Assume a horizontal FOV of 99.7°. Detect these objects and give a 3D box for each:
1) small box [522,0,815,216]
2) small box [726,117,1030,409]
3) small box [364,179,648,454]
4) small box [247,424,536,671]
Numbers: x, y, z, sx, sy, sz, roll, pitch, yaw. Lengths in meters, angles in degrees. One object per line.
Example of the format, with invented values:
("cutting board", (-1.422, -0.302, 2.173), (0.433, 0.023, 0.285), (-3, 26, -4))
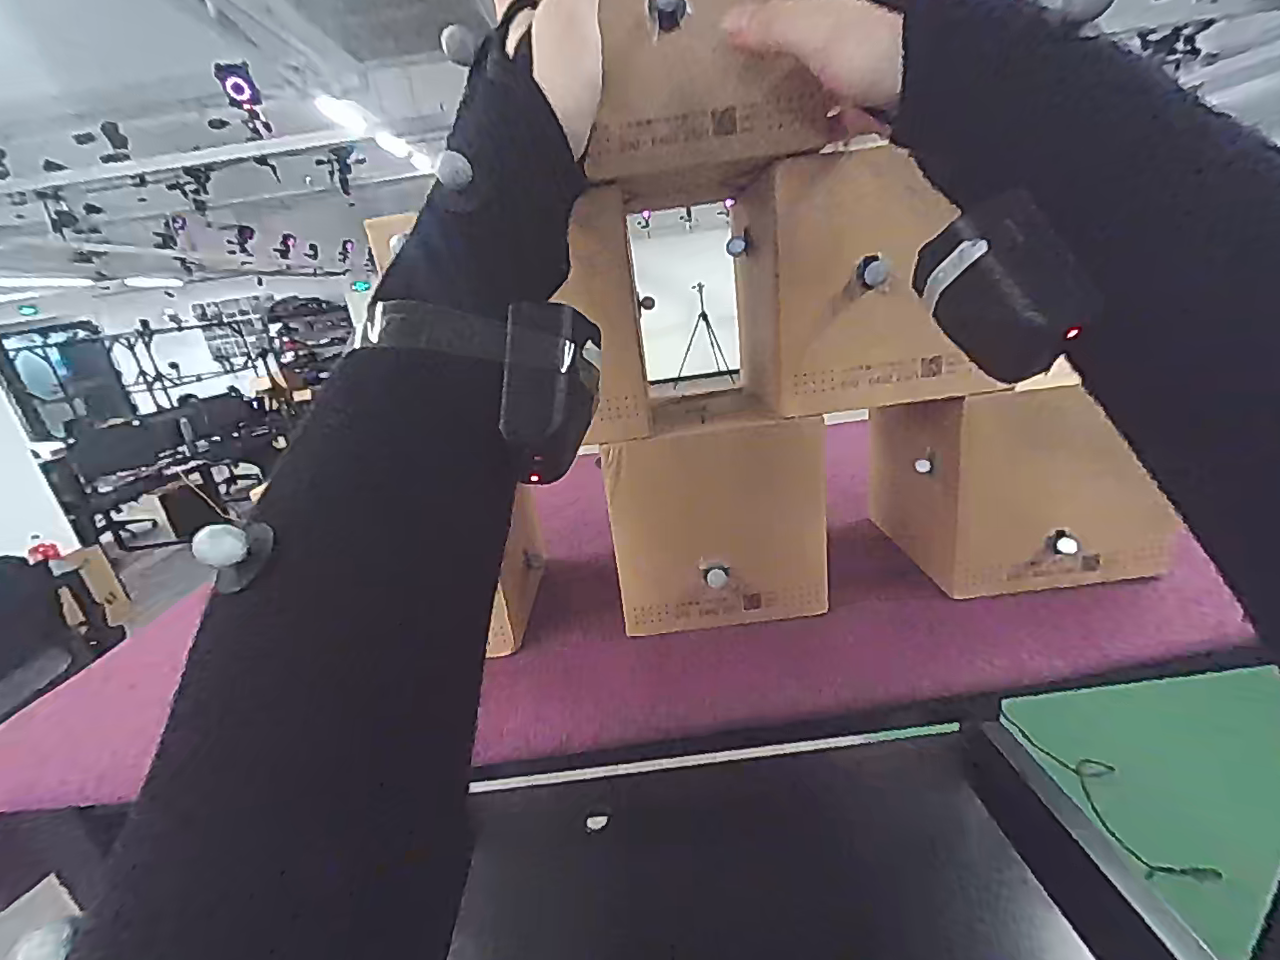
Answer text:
("small box", (0.017, -0.294, 0.375), (0.168, 0.176, 0.179), (-7, 18, 3))
("small box", (0.169, -0.157, 0.433), (0.168, 0.176, 0.179), (-7, 18, 2))
("small box", (-0.086, -0.127, 0.442), (0.168, 0.176, 0.179), (-7, 19, 3))
("small box", (-0.197, 0.045, 0.490), (0.168, 0.176, 0.179), (-8, 18, 1))
